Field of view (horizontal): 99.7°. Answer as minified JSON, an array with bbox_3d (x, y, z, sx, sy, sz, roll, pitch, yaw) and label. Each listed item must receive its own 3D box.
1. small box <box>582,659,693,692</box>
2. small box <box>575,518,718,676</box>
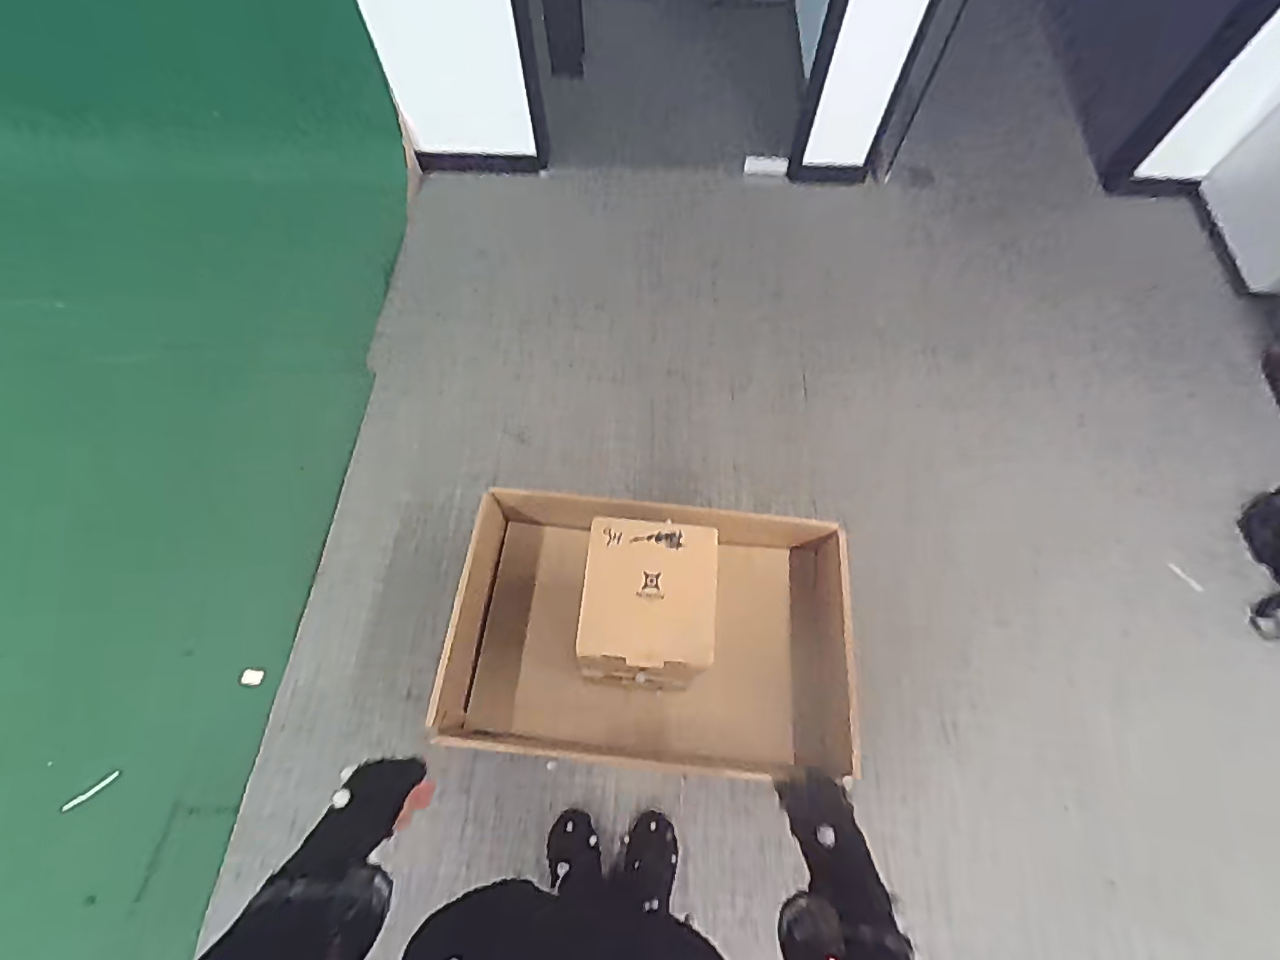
[{"bbox_3d":[0.002,0.245,0.889,0.168,0.176,0.179,5,63,0],"label":"small box"},{"bbox_3d":[0.010,0.169,0.745,0.168,0.176,0.179,6,66,0],"label":"small box"}]
